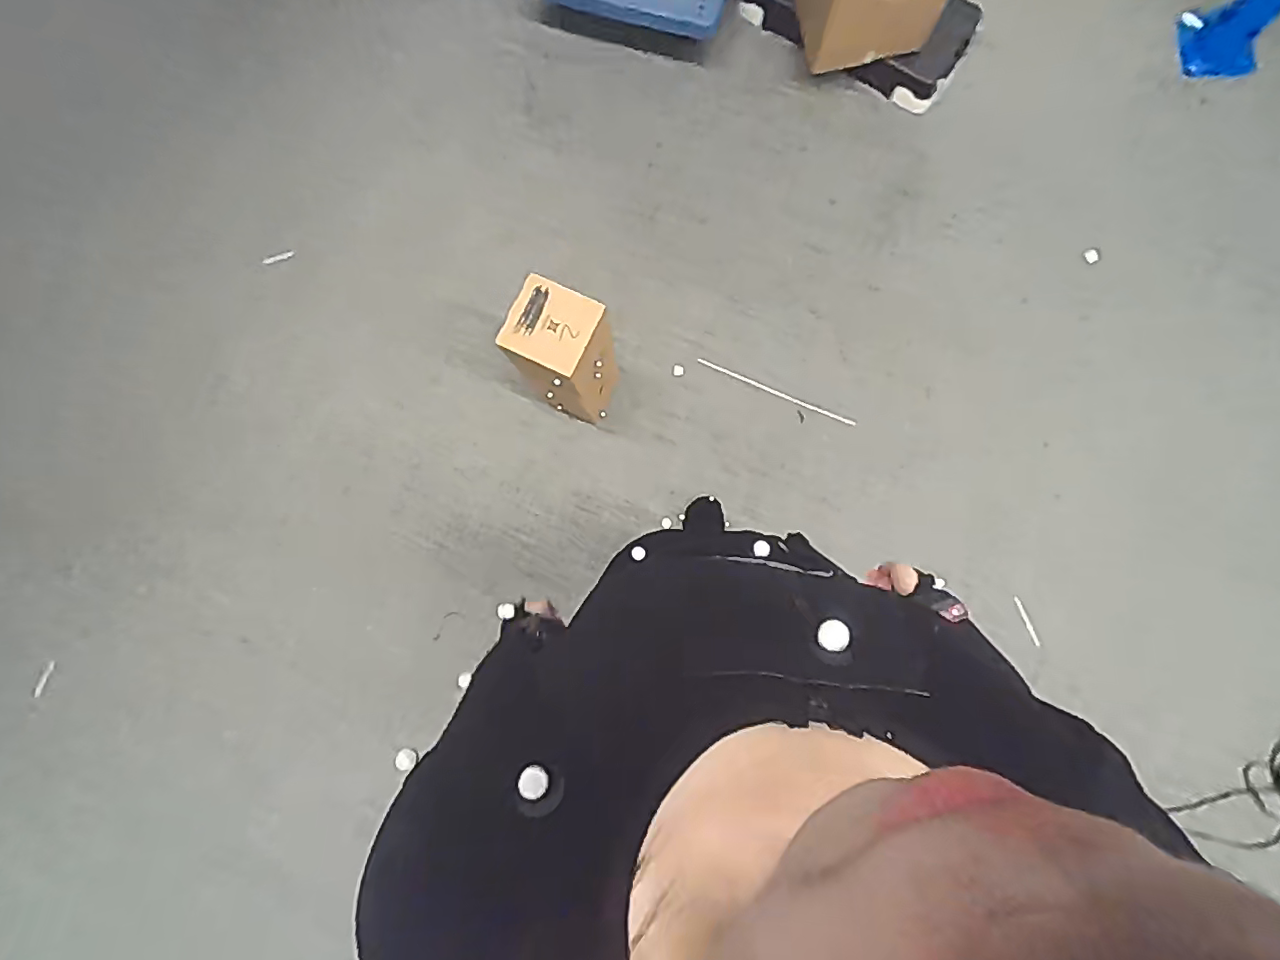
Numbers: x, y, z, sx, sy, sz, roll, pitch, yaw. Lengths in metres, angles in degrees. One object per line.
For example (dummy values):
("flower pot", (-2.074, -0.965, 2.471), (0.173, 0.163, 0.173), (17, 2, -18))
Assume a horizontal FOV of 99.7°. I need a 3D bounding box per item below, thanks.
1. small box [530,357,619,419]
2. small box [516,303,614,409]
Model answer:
("small box", (-0.170, -0.279, 1.483), (0.179, 0.176, 0.168), (26, 87, 6))
("small box", (-0.172, -0.293, 1.319), (0.168, 0.176, 0.179), (26, 87, 4))
